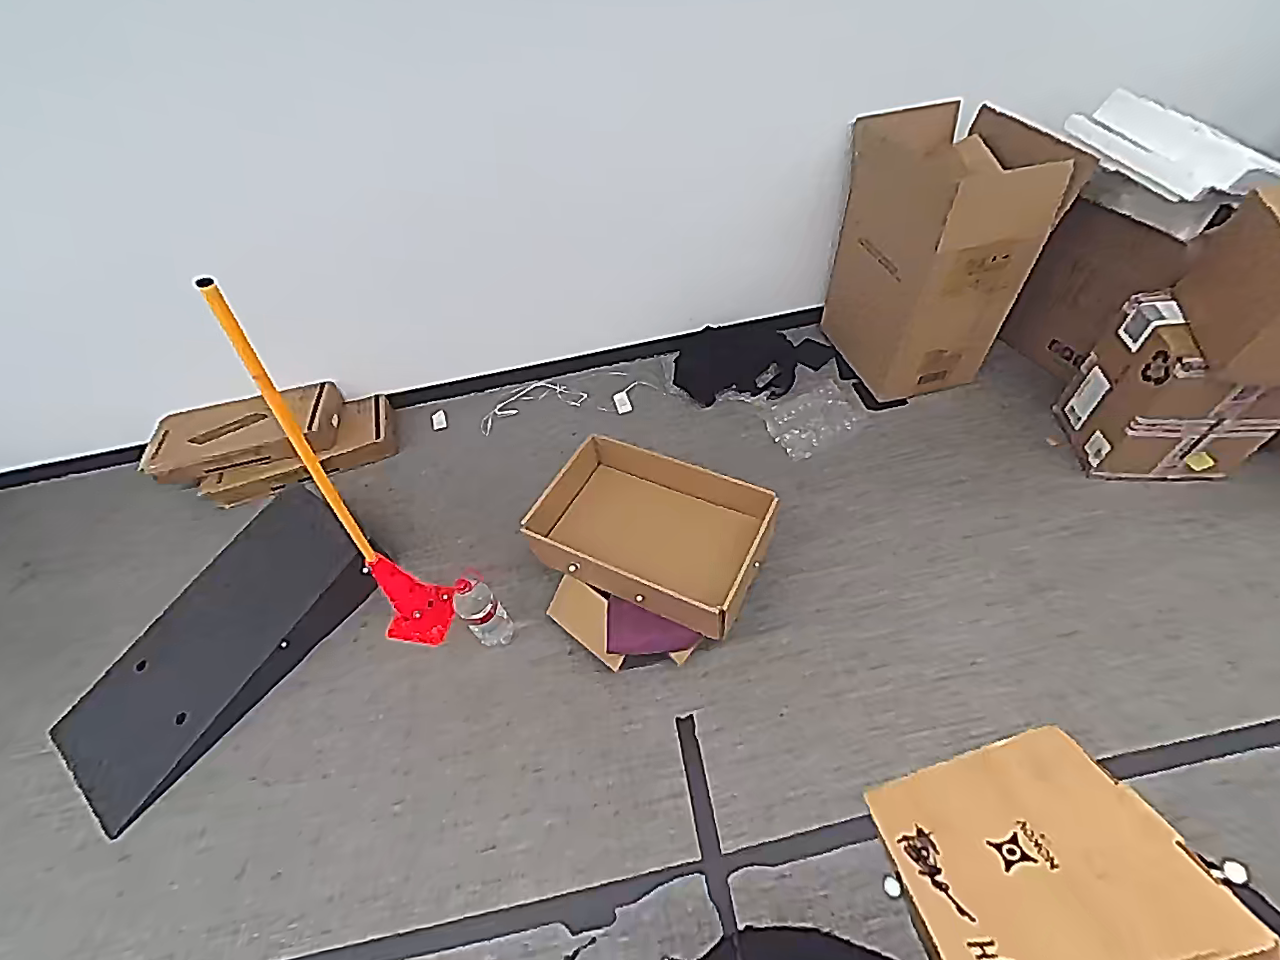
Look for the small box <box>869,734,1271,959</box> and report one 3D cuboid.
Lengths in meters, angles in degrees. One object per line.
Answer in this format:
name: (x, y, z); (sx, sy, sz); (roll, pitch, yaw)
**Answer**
small box: (0.313, 0.344, 0.419); (0.179, 0.176, 0.168); (-22, 16, 6)
